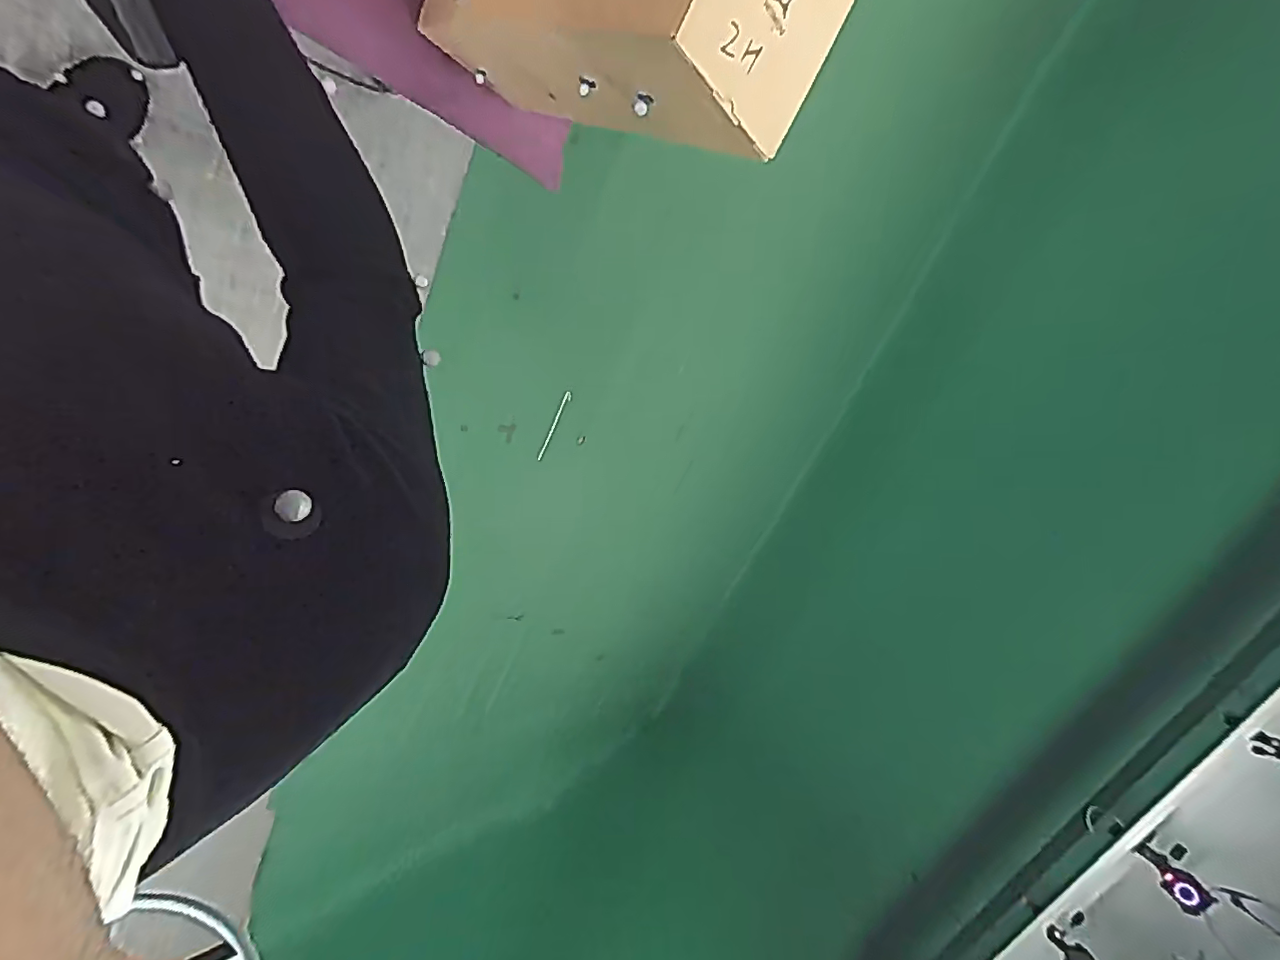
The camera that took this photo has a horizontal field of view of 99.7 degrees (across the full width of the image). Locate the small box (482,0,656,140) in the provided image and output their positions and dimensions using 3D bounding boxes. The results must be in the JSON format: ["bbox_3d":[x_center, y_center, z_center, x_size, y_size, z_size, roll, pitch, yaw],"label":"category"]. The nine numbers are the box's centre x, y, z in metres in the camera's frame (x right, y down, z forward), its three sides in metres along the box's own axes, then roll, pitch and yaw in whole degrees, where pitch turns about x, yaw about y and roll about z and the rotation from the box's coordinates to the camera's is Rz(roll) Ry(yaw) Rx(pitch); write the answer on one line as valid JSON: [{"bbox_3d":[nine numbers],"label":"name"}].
[{"bbox_3d":[-0.046,-0.516,0.592,0.168,0.176,0.179,10,112,-50],"label":"small box"}]

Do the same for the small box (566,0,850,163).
[{"bbox_3d":[0.061,-0.435,0.496,0.168,0.176,0.179,11,112,-50],"label":"small box"}]
